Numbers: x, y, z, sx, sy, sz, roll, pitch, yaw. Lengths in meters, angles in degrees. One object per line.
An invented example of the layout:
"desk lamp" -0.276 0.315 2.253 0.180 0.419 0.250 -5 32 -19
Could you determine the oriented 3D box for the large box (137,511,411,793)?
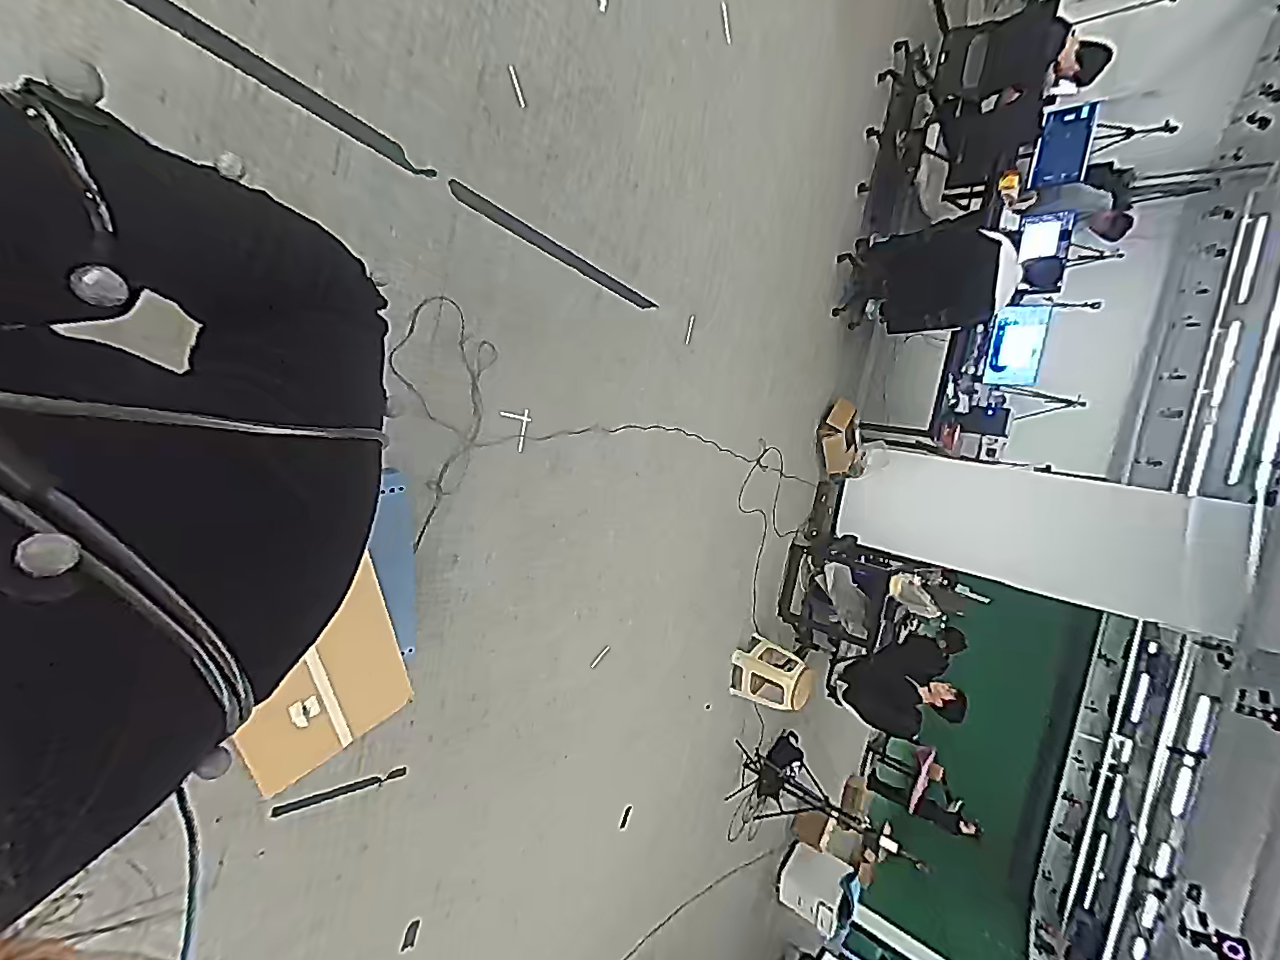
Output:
"large box" -0.746 0.330 1.132 0.320 0.320 0.408 -28 123 -43
